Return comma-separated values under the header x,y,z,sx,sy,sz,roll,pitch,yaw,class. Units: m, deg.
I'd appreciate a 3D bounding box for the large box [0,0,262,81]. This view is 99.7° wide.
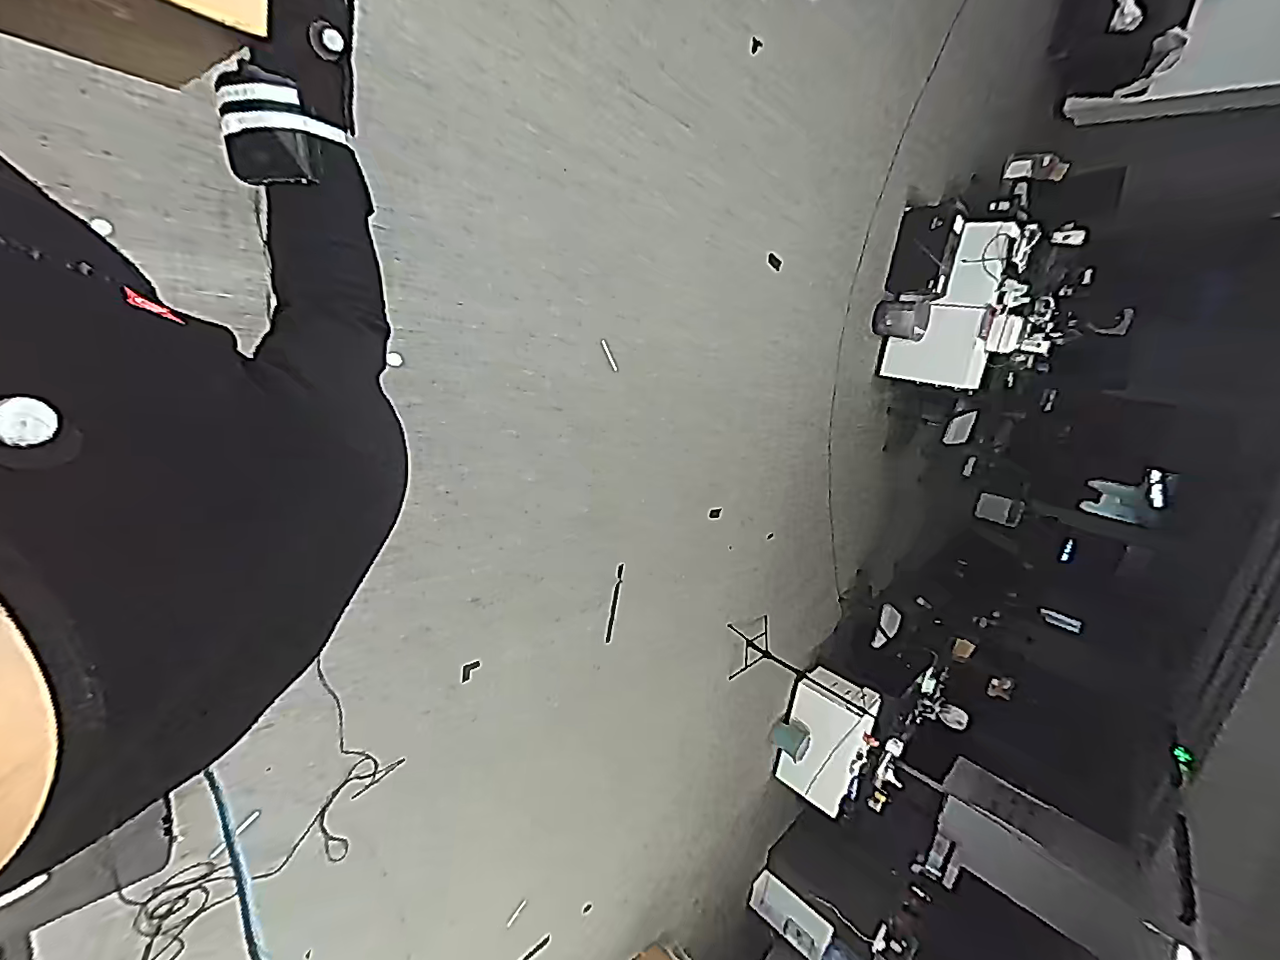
x,y,z,sx,sy,sz,roll,pitch,yaw,class
-0.471,-0.467,0.262,0.408,0.320,0.320,-10,117,-47,large box
